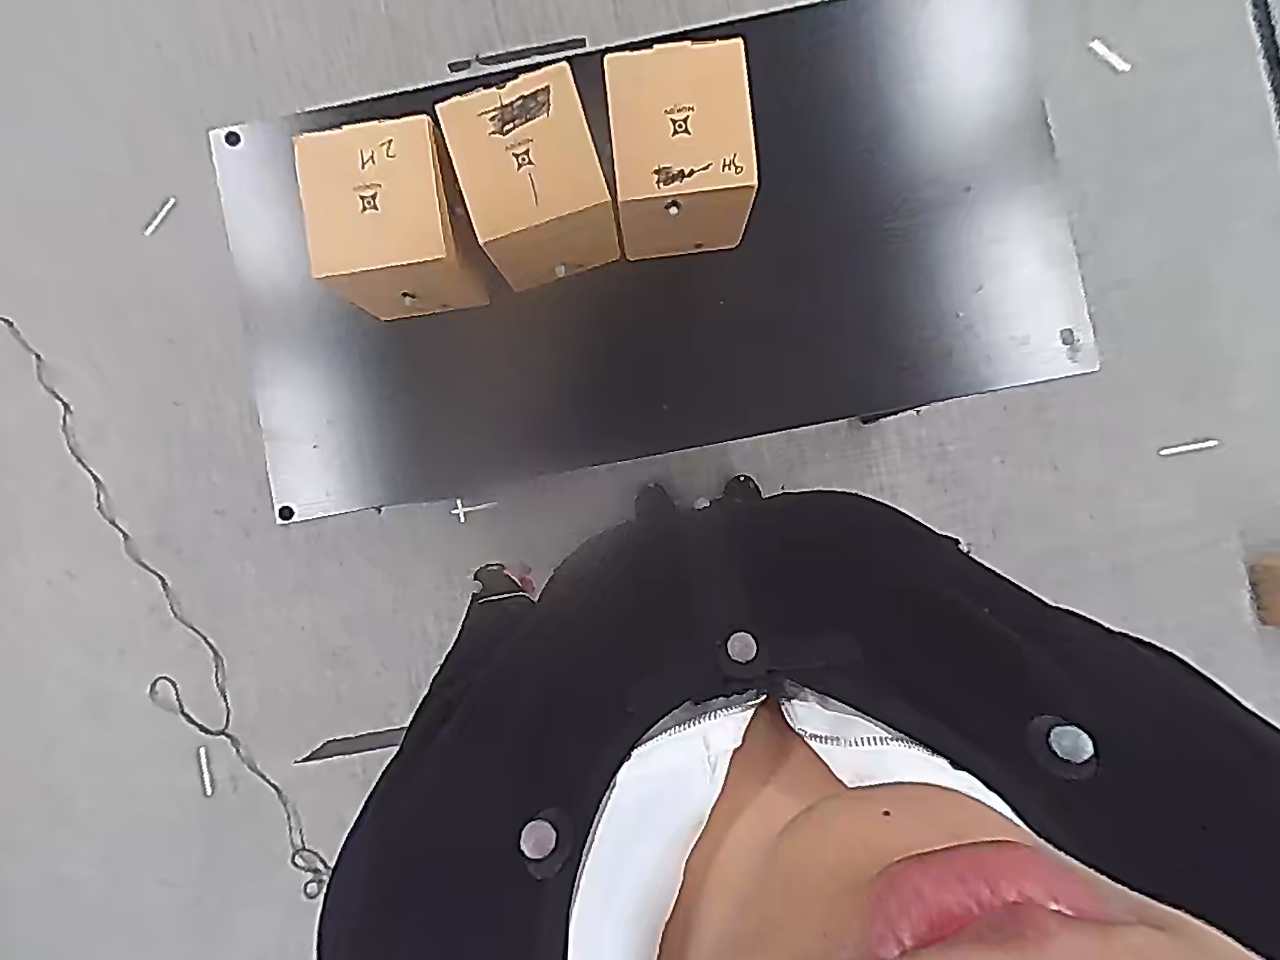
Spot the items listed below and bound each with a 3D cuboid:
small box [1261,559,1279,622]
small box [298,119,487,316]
[{"bbox_3d":[1.728,0.286,1.342,0.168,0.176,0.179,-11,88,2],"label":"small box"},{"bbox_3d":[-0.315,-0.332,0.723,0.168,0.176,0.179,-8,88,2],"label":"small box"}]
